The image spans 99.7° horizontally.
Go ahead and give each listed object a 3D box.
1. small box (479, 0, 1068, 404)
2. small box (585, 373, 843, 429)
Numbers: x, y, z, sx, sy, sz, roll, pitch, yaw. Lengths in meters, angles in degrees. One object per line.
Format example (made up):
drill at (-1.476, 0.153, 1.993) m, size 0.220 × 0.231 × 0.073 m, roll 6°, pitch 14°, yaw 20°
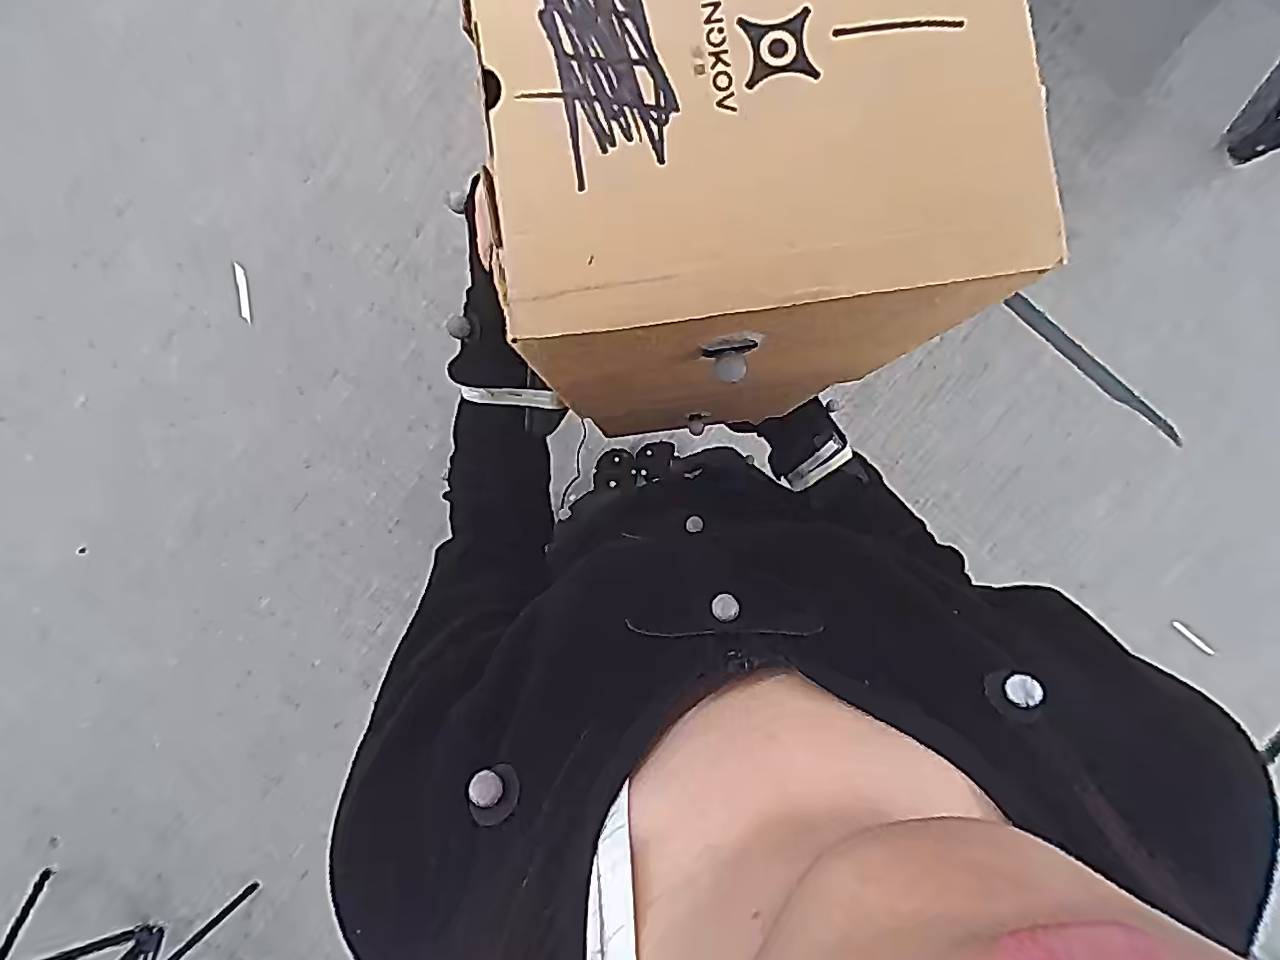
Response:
small box at (0.039, -0.135, 0.250) m, size 0.179 × 0.176 × 0.168 m, roll -7°, pitch 89°, yaw 0°
small box at (0.040, -0.137, 0.416) m, size 0.168 × 0.176 × 0.179 m, roll -7°, pitch 88°, yaw 0°
